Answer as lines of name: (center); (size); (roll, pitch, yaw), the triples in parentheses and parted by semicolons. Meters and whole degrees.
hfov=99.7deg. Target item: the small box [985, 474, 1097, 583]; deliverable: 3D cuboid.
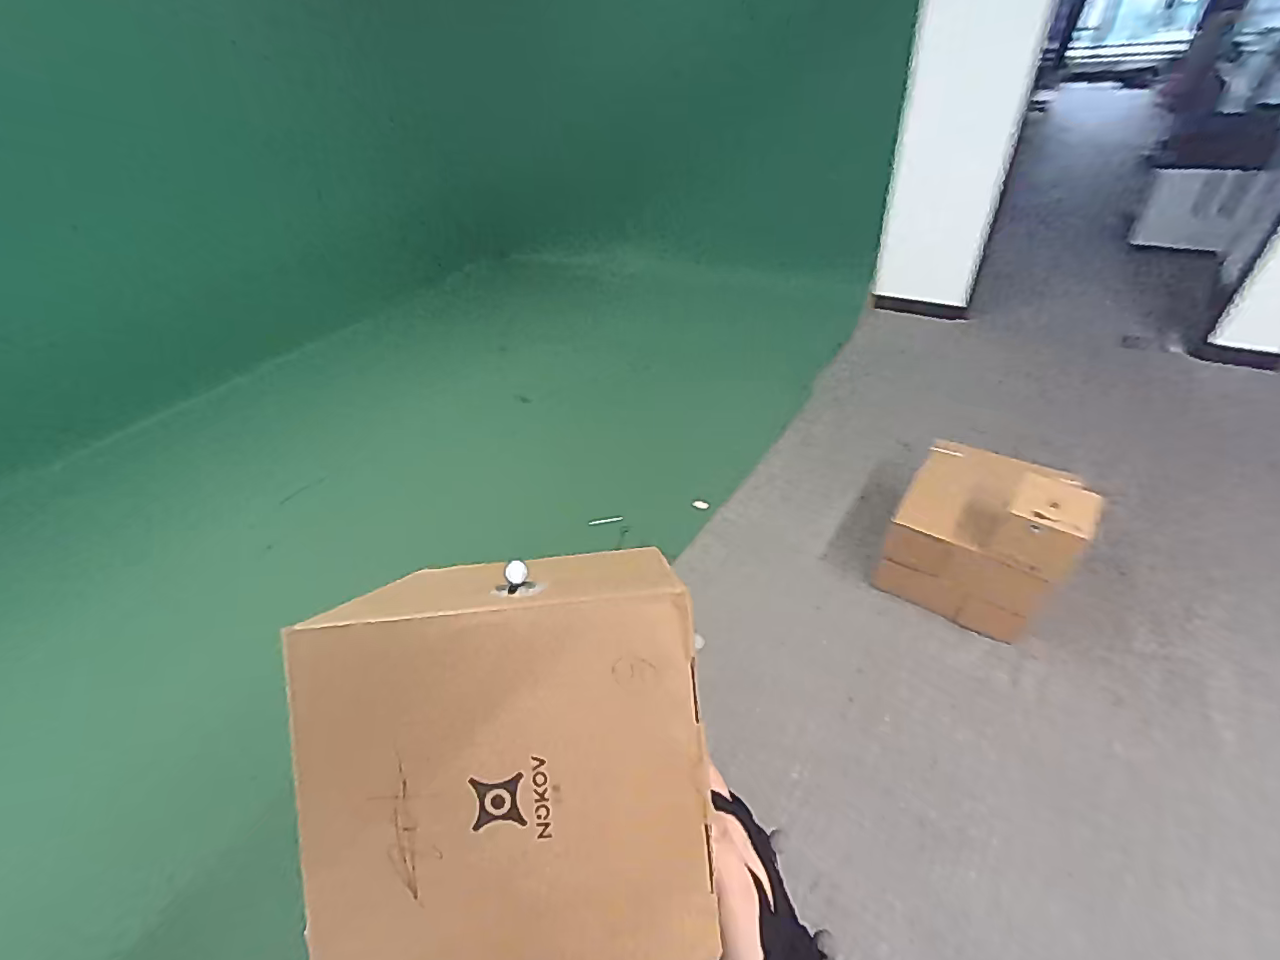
small box: (1.000, 0.122, 1.359); (0.168, 0.176, 0.179); (26, 51, 32)

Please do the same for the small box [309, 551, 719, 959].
small box: (-0.058, 0.136, 0.319); (0.179, 0.168, 0.176); (-3, -1, -2)
